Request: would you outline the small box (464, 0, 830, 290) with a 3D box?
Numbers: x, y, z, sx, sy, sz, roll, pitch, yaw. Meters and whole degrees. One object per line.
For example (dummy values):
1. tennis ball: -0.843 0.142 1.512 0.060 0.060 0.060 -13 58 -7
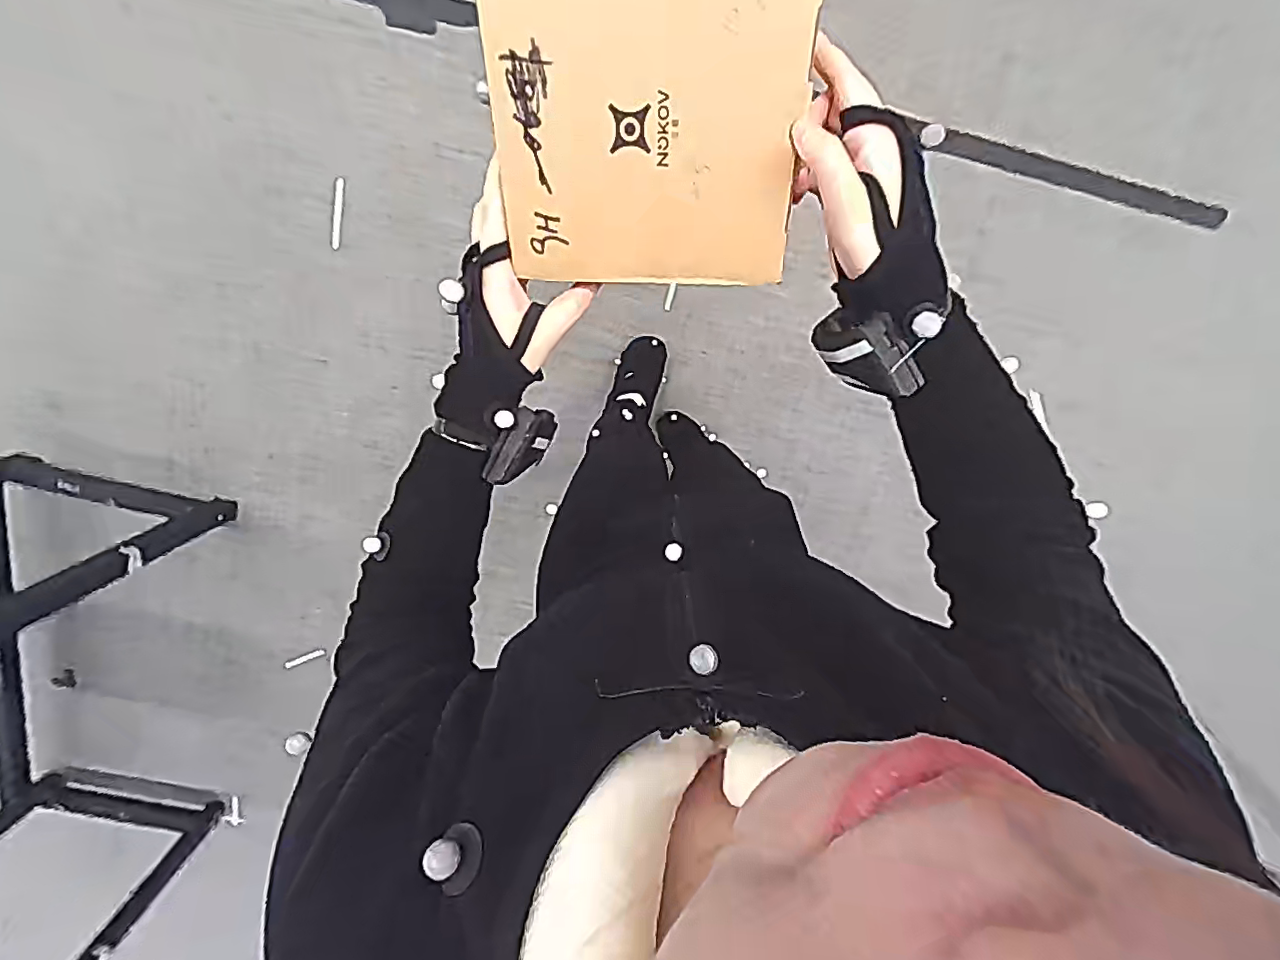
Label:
1. small box: 0.005 -0.233 0.351 0.179 0.176 0.168 3 126 3
